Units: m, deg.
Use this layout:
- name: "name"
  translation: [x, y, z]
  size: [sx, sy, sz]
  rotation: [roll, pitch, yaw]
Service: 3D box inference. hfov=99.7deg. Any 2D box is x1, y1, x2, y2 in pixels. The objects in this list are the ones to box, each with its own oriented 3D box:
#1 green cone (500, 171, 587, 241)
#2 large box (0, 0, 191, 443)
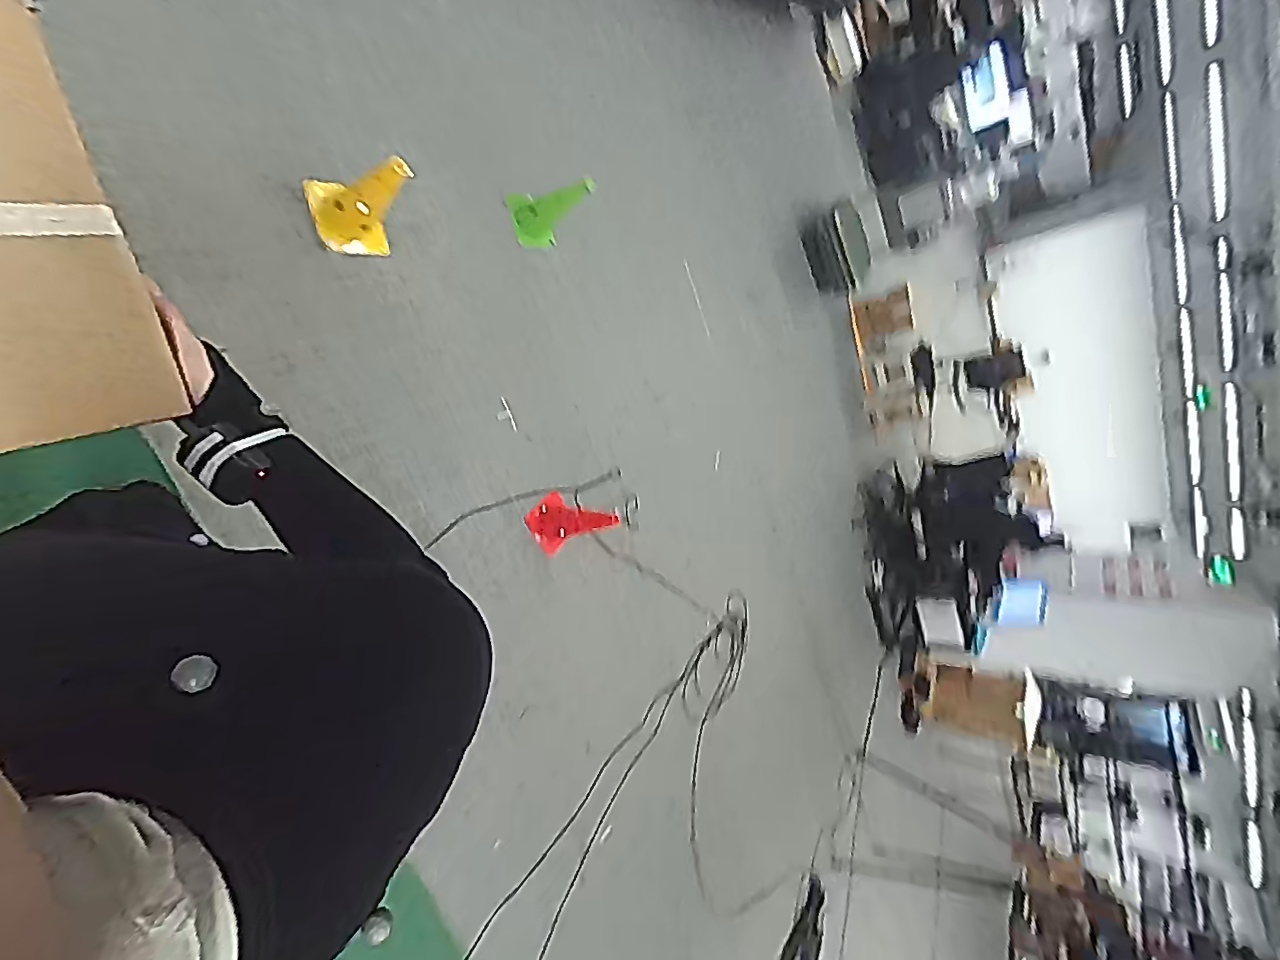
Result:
- name: "green cone"
  translation: [-0.336, -1.088, 2.072]
  size: [0.202, 0.368, 0.200]
  rotation: [-28, 106, -46]
- name: "large box"
  translation: [-0.654, -0.167, 0.378]
  size: [0.408, 0.320, 0.320]
  rotation: [-29, 122, -47]
